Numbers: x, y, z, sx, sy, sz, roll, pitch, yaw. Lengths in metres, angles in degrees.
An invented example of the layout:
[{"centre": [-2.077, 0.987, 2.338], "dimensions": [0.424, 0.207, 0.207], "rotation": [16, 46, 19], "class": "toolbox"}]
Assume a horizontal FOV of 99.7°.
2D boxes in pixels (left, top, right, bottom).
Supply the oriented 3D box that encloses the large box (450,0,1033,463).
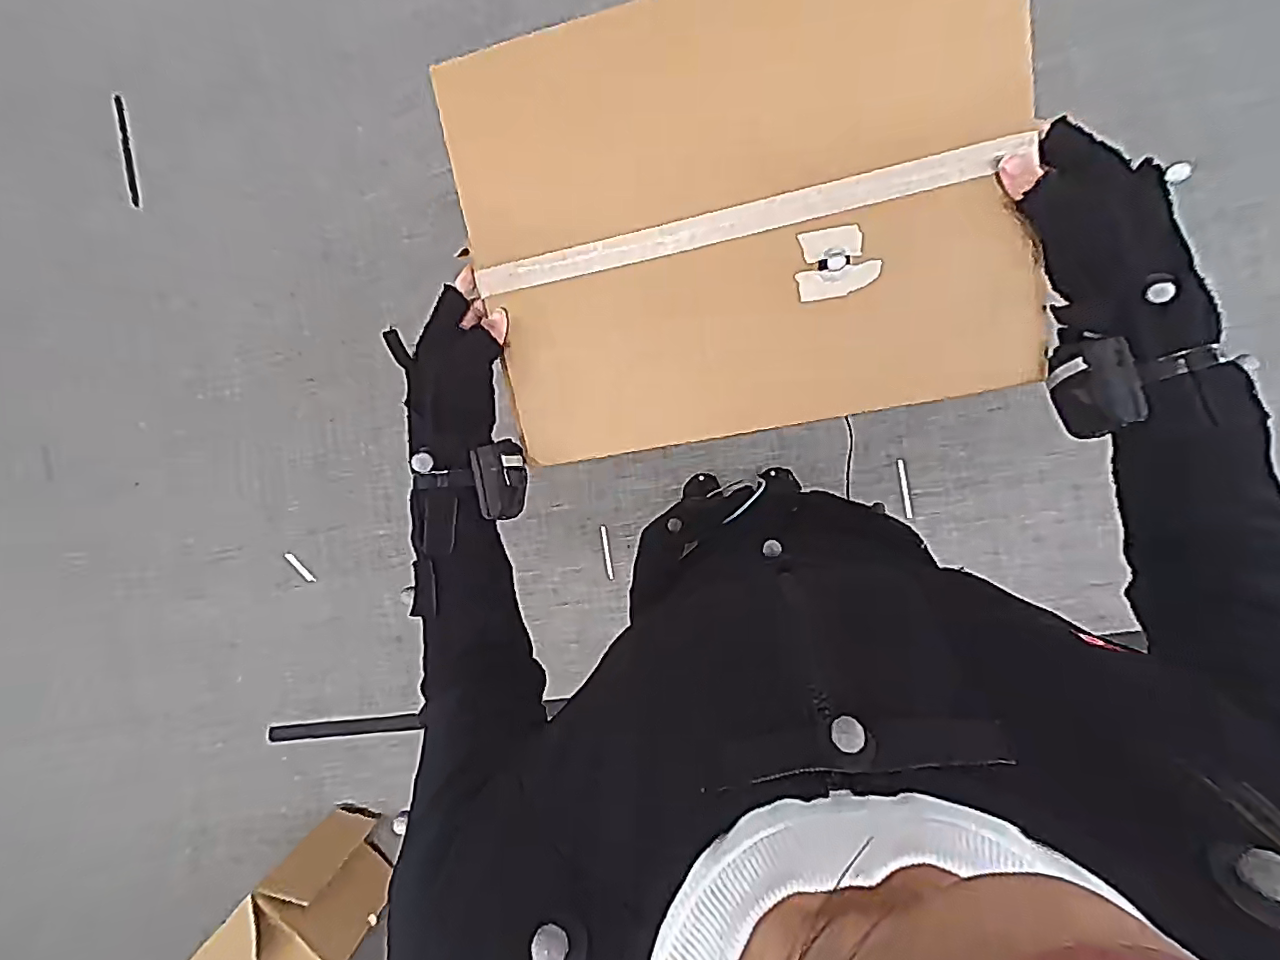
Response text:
[{"centre": [0.091, -0.227, 0.556], "dimensions": [0.408, 0.320, 0.320], "rotation": [-10, 102, 10], "class": "large box"}]
